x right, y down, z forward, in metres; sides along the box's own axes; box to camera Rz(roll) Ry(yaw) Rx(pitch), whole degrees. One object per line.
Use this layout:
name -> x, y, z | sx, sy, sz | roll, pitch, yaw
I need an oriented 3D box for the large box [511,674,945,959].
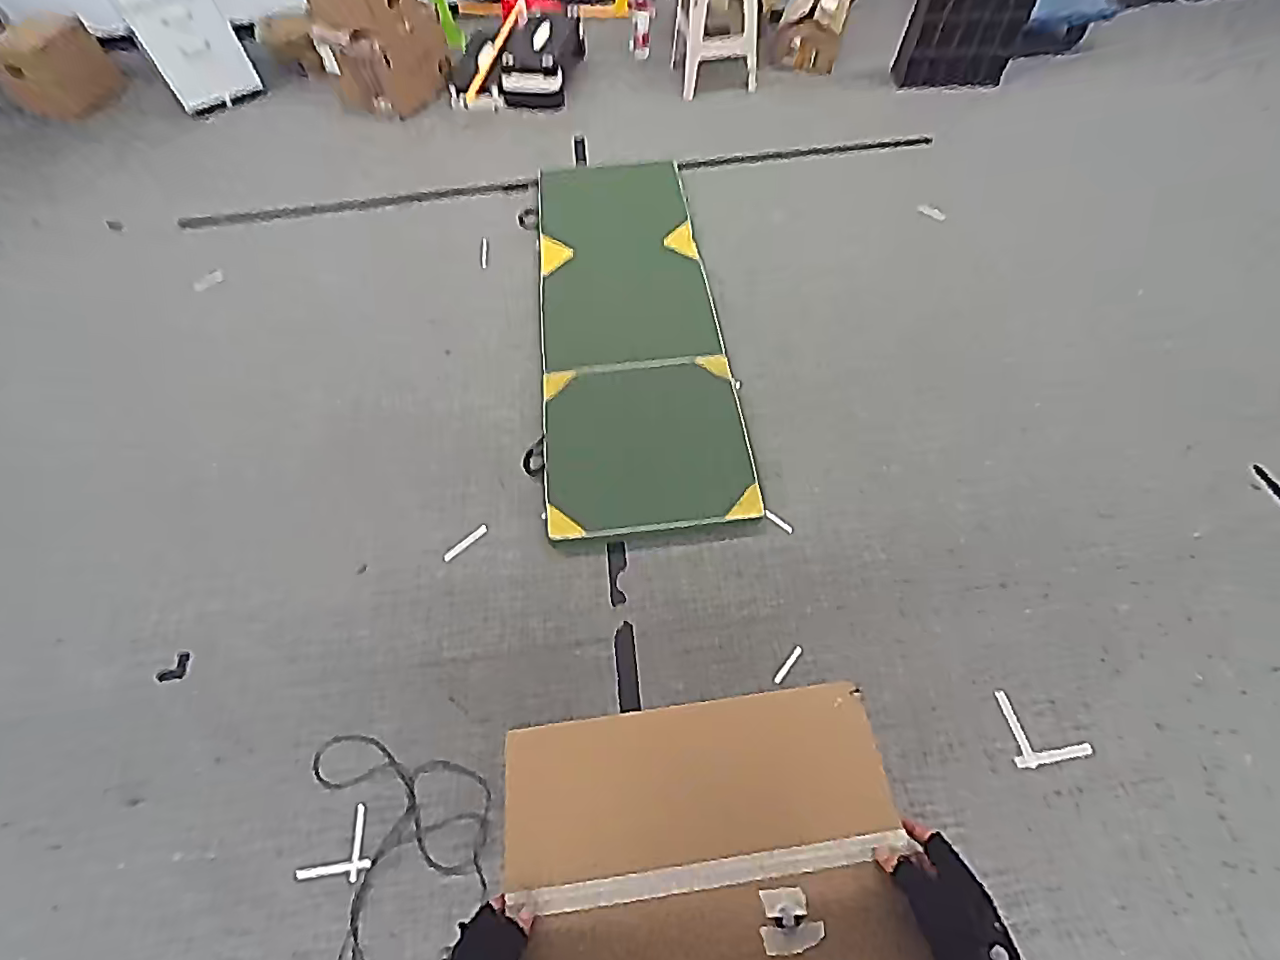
large box -> 0.075, 0.465, 0.672 | 0.408, 0.320, 0.320 | -8, 59, -3
